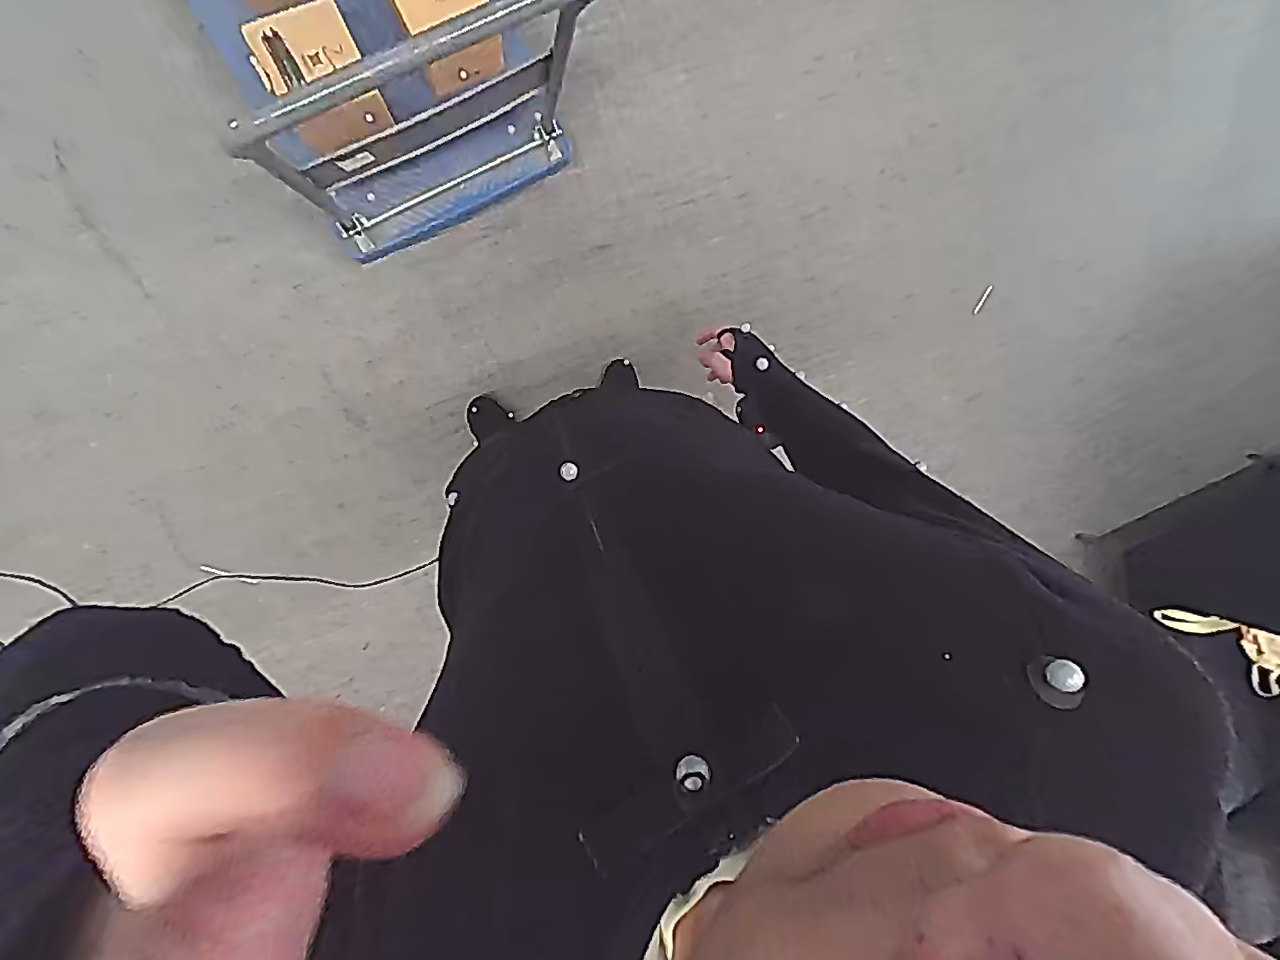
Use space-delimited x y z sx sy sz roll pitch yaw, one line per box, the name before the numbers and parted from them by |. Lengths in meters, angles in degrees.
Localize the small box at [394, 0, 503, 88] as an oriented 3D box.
small box | -0.390 -0.943 1.086 0.168 0.176 0.179 -27 107 -5
